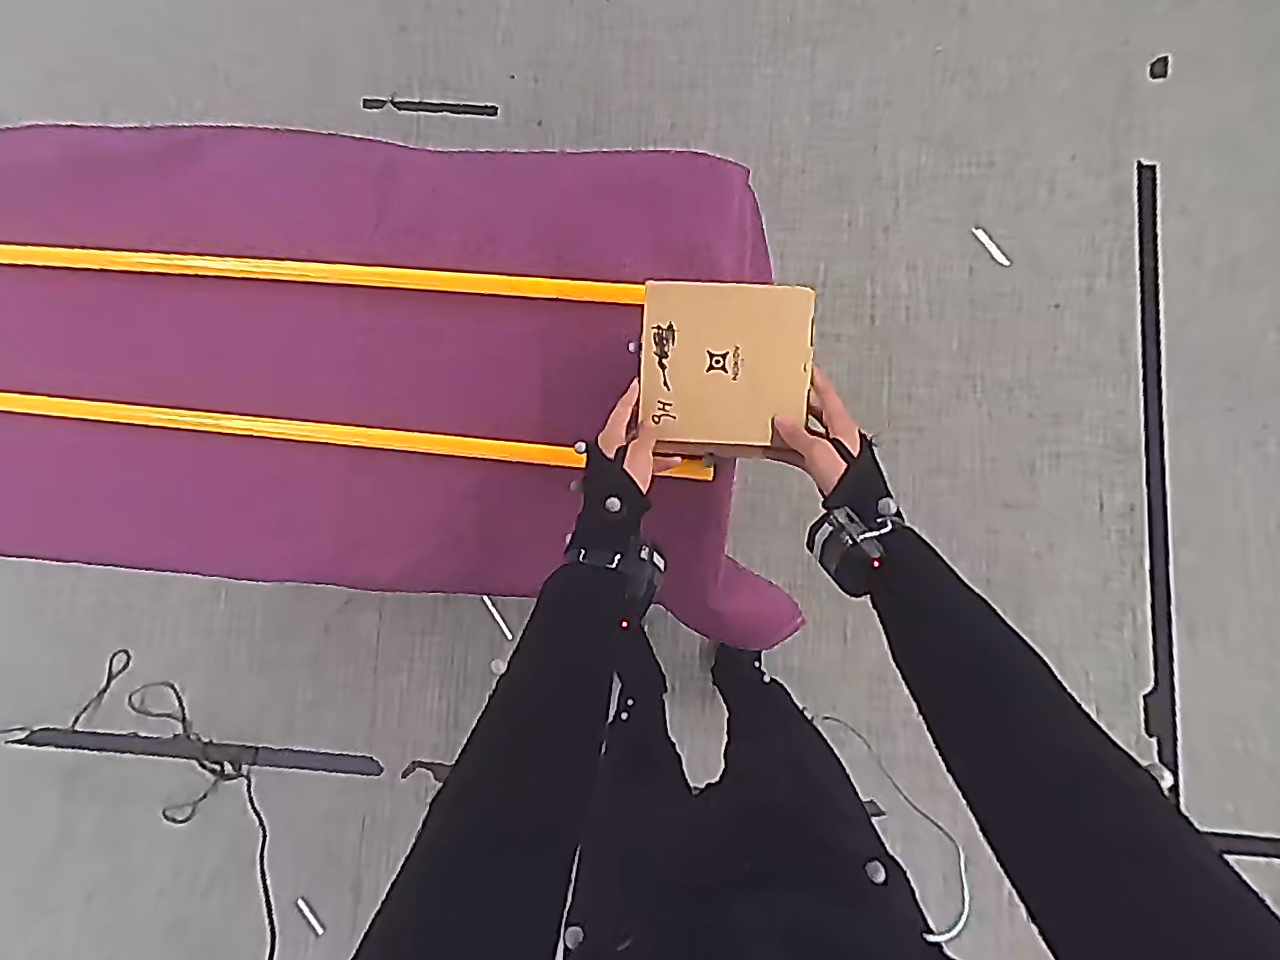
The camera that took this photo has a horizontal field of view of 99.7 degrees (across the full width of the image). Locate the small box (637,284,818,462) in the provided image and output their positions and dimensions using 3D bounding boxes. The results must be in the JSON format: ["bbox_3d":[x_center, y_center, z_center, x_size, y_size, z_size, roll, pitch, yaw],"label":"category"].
[{"bbox_3d":[0.089,-0.110,0.626,0.179,0.176,0.168,3,88,1],"label":"small box"}]
